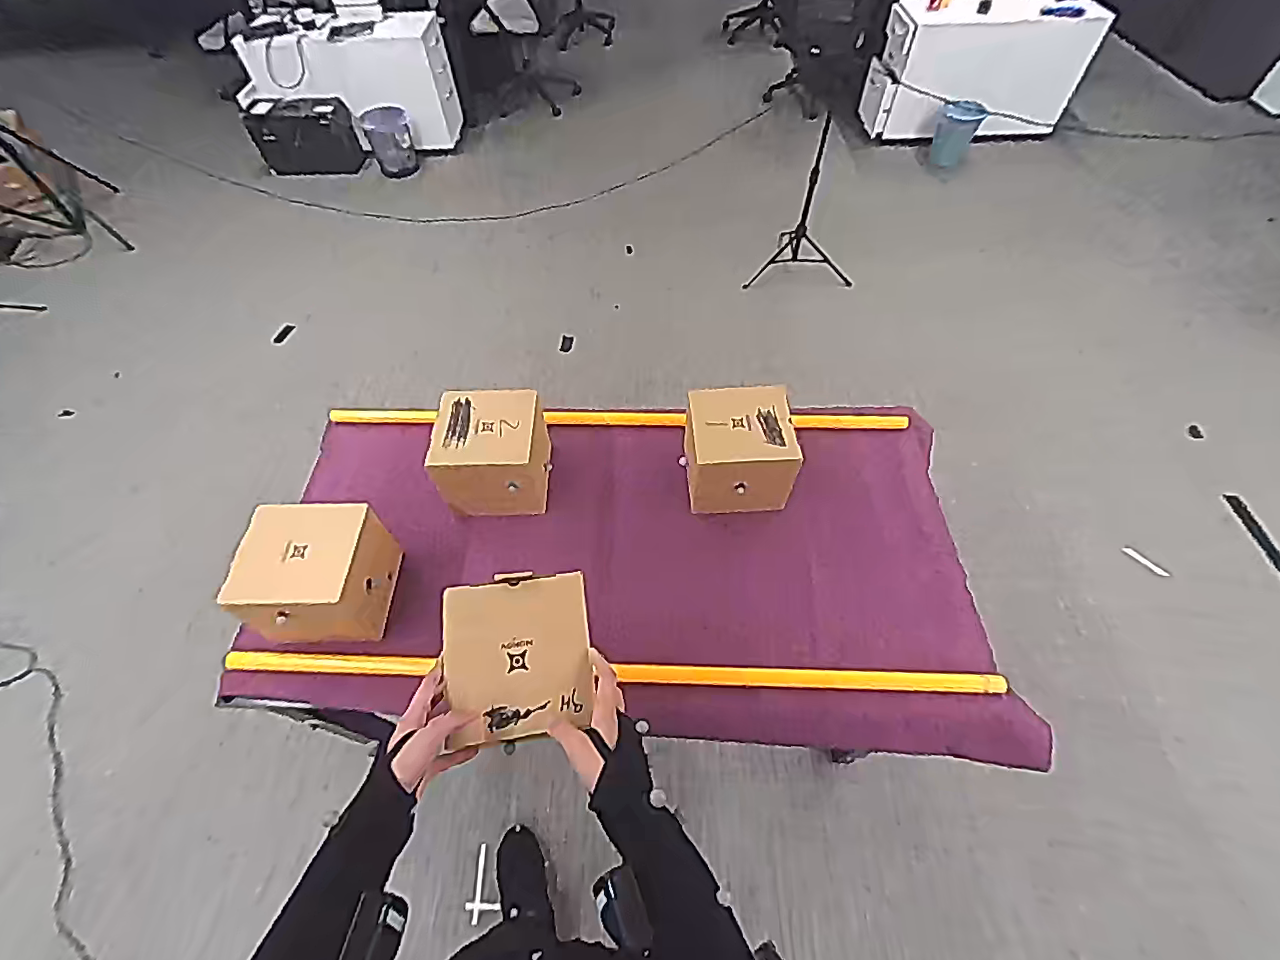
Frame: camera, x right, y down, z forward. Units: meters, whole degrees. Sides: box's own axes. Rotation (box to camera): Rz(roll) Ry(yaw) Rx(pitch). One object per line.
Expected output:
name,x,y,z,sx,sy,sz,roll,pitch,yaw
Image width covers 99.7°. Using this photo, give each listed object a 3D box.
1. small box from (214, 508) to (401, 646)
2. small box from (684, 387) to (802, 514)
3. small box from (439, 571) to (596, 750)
small box,-0.507,0.157,0.860,0.179,0.176,0.168,-1,55,0
small box,0.176,-0.050,0.981,0.179,0.176,0.168,-3,56,1
small box,-0.145,0.230,0.678,0.168,0.176,0.179,-6,63,-7
